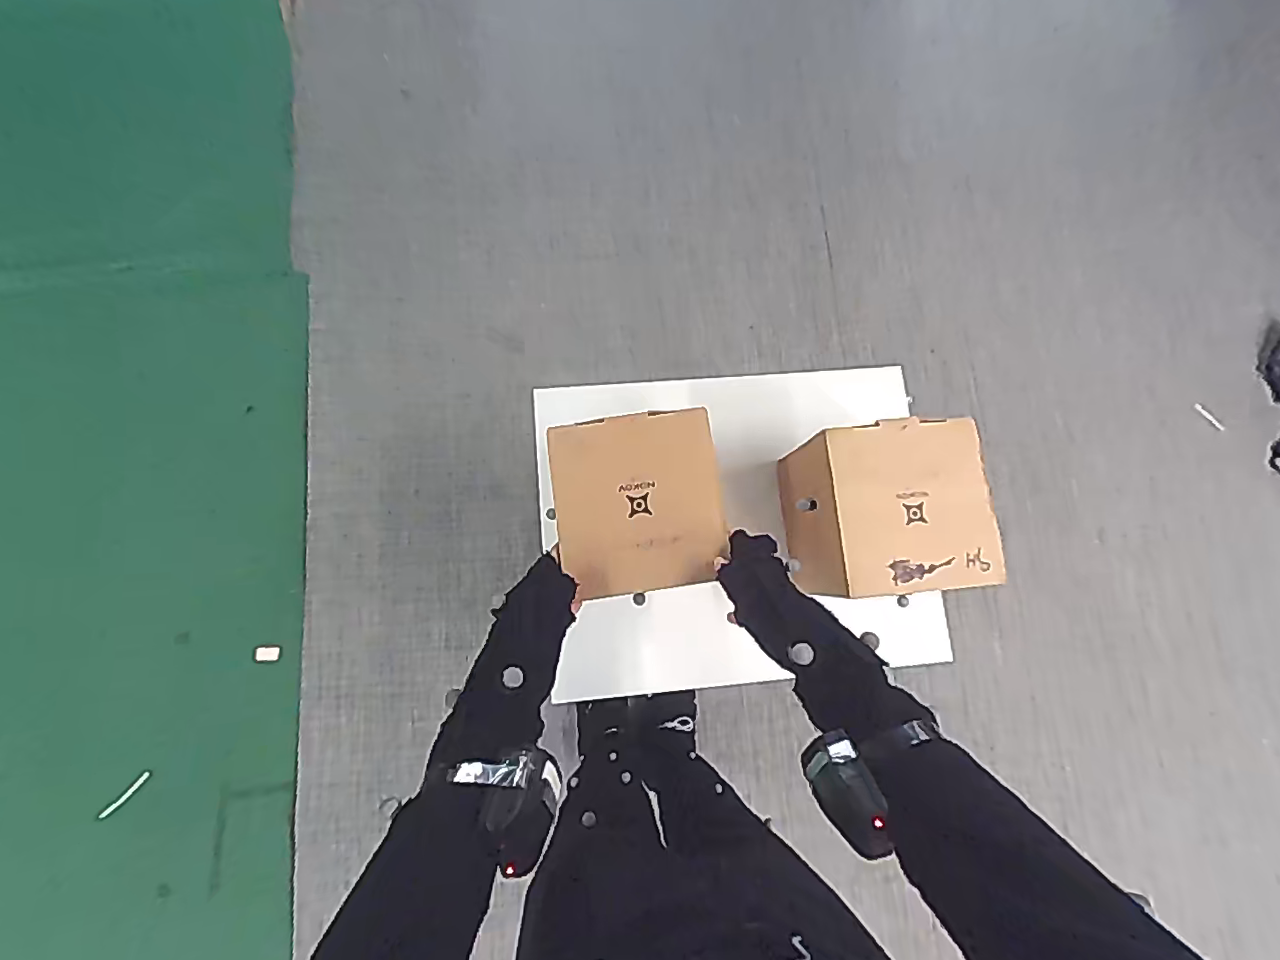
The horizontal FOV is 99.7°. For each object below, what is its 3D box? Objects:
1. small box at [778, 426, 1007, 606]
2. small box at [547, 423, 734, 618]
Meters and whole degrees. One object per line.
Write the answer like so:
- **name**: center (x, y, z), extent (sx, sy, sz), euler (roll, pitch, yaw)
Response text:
- **small box**: center (0.272, 0.050, 0.627), extent (0.168, 0.176, 0.179), euler (-6, 79, -4)
- **small box**: center (-0.002, 0.051, 0.611), extent (0.168, 0.176, 0.179), euler (-10, 80, -1)
